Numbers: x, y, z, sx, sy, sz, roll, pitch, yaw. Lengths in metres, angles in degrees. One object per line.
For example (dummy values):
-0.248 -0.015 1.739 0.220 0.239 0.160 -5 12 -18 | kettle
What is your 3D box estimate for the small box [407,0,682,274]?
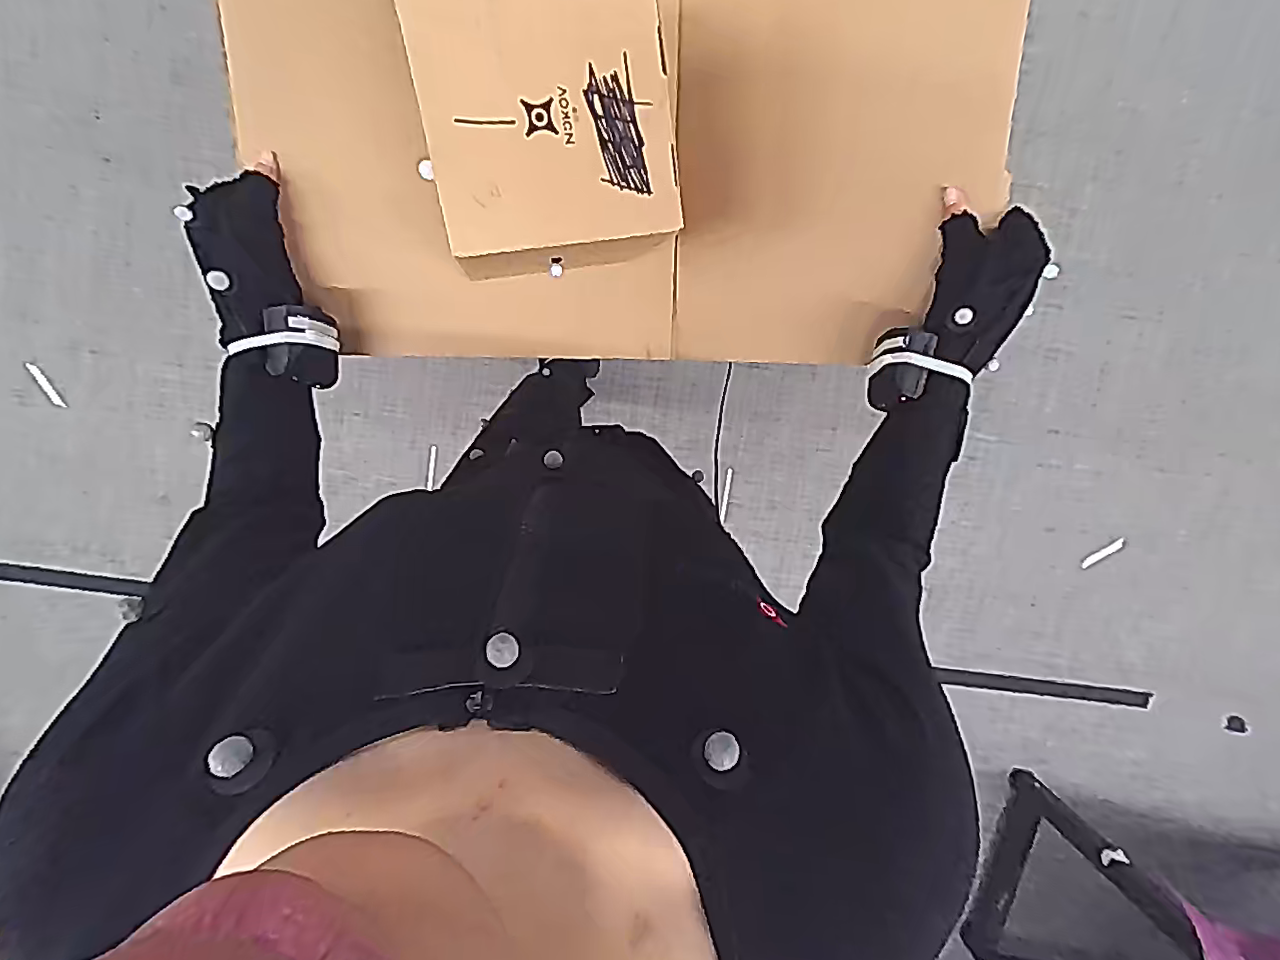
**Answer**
-0.078 -0.279 0.464 0.179 0.176 0.168 -11 106 -10 | small box
